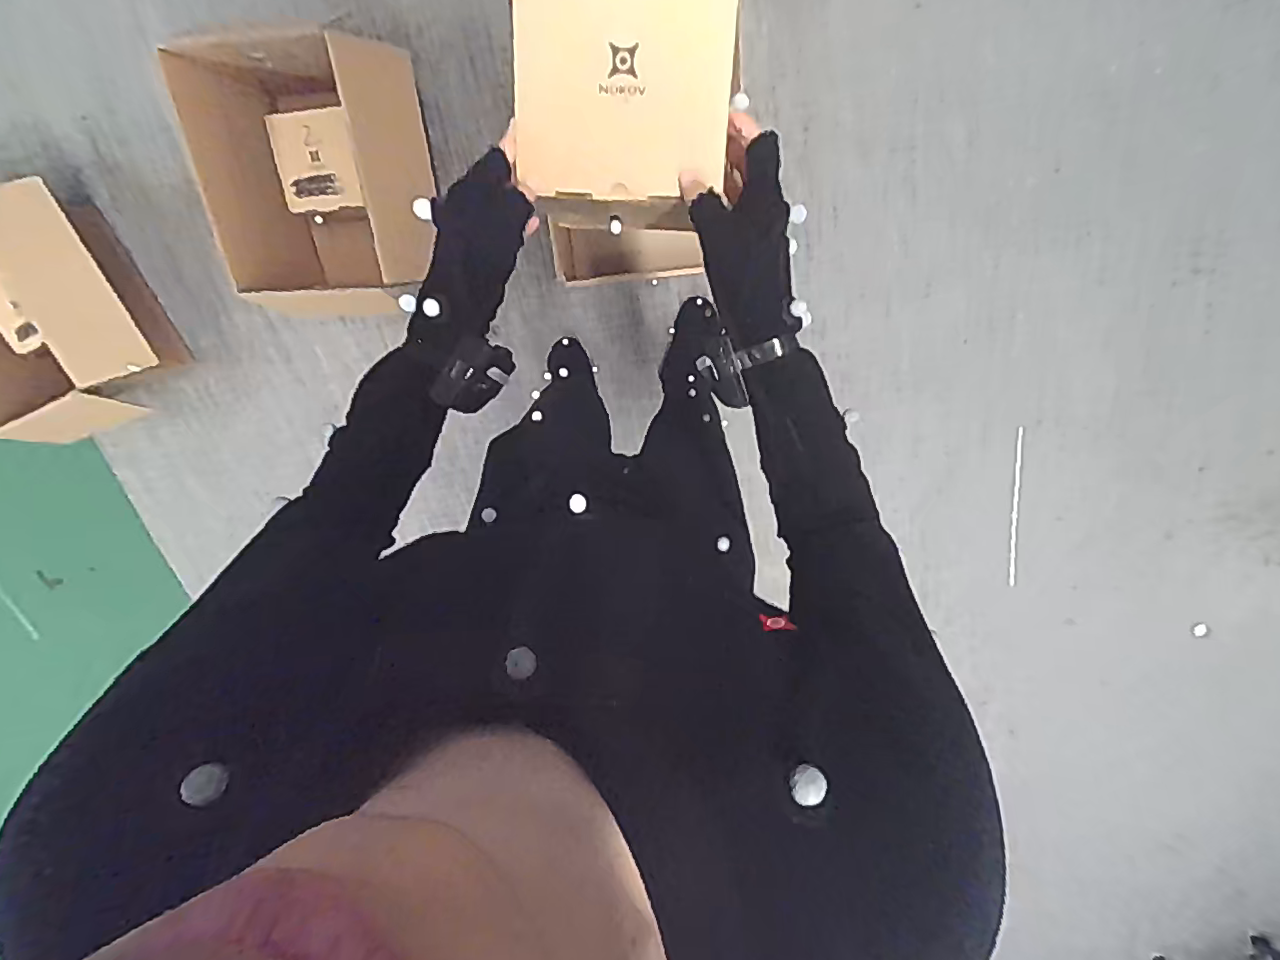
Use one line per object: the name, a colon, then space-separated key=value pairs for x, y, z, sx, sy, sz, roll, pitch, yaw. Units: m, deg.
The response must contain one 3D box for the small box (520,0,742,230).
small box: x=-0.006 y=-0.334 z=0.484 sx=0.168 sy=0.176 sz=0.179 roll=3 pitch=109 yaw=3
